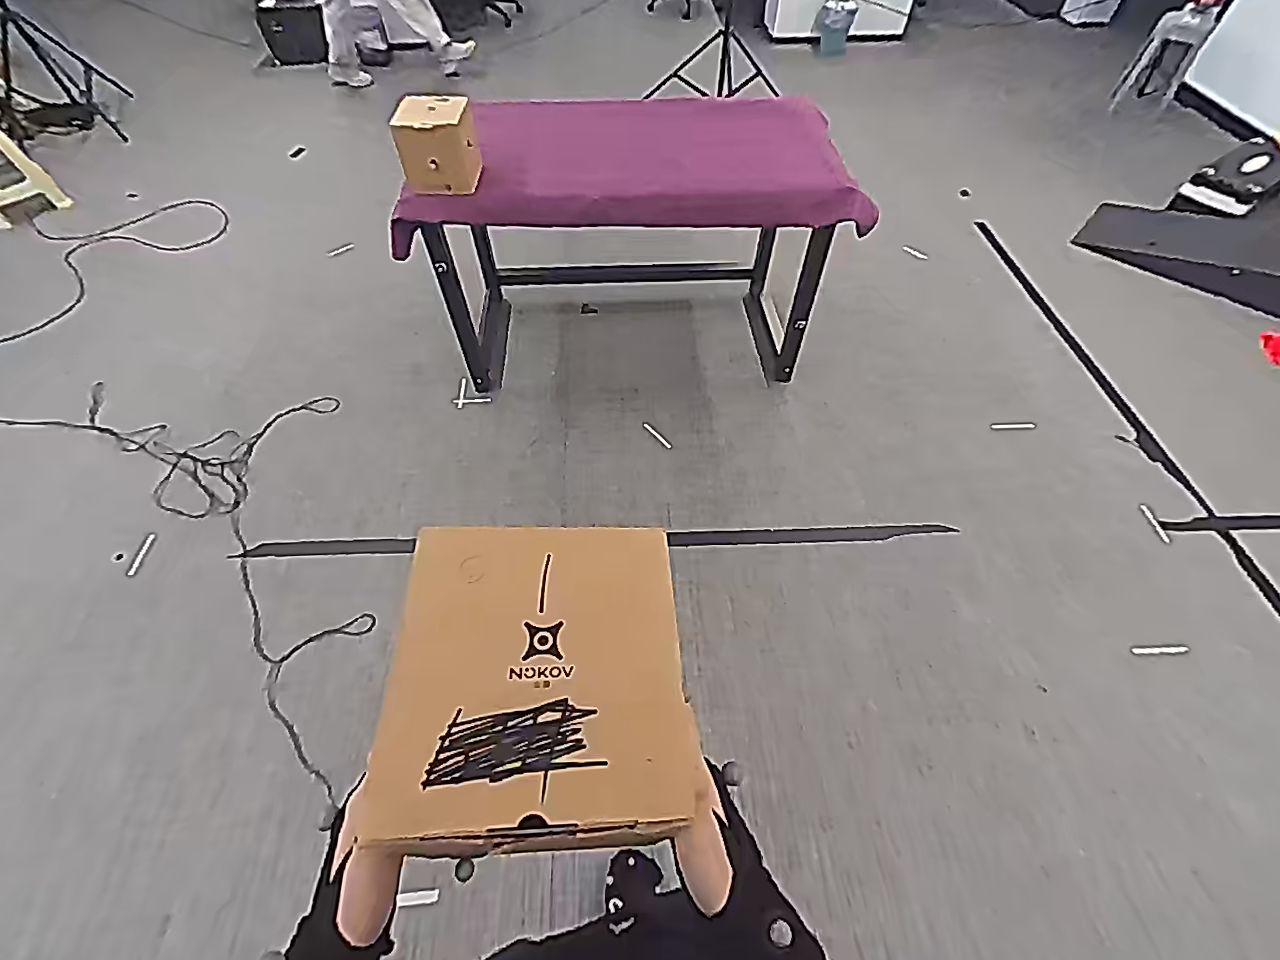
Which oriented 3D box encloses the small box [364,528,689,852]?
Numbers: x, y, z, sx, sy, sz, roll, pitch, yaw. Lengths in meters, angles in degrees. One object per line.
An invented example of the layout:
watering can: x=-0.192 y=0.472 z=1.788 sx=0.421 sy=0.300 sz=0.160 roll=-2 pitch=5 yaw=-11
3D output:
small box: x=-0.066 y=0.152 z=0.382 sx=0.168 sy=0.176 sz=0.179 roll=0 pitch=52 yaw=-7

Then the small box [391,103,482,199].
small box: x=-0.522 y=-0.856 z=1.414 sx=0.168 sy=0.176 sz=0.179 roll=-1 pitch=55 yaw=-1
